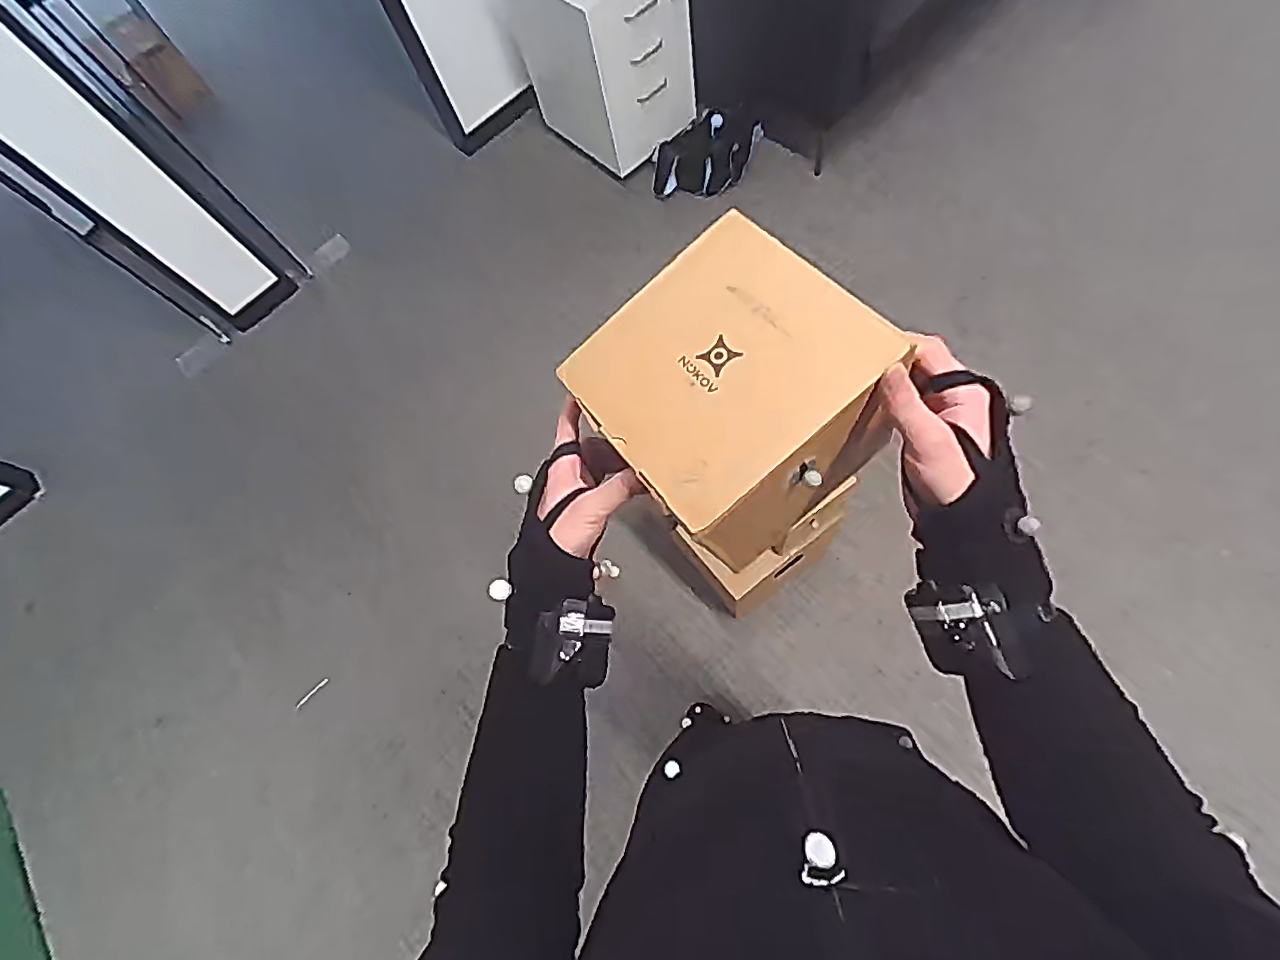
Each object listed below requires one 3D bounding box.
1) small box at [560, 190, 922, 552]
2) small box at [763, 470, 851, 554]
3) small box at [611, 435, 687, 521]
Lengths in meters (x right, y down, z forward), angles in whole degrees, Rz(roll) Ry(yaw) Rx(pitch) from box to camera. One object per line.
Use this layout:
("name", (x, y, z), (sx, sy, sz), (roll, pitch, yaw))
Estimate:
("small box", (0.076, -0.067, 0.417), (0.179, 0.176, 0.168), (-41, 66, 0))
("small box", (0.309, 0.029, 1.137), (0.179, 0.176, 0.168), (-35, 65, -8))
("small box", (0.064, -0.036, 1.207), (0.179, 0.176, 0.168), (-37, 66, -4))
